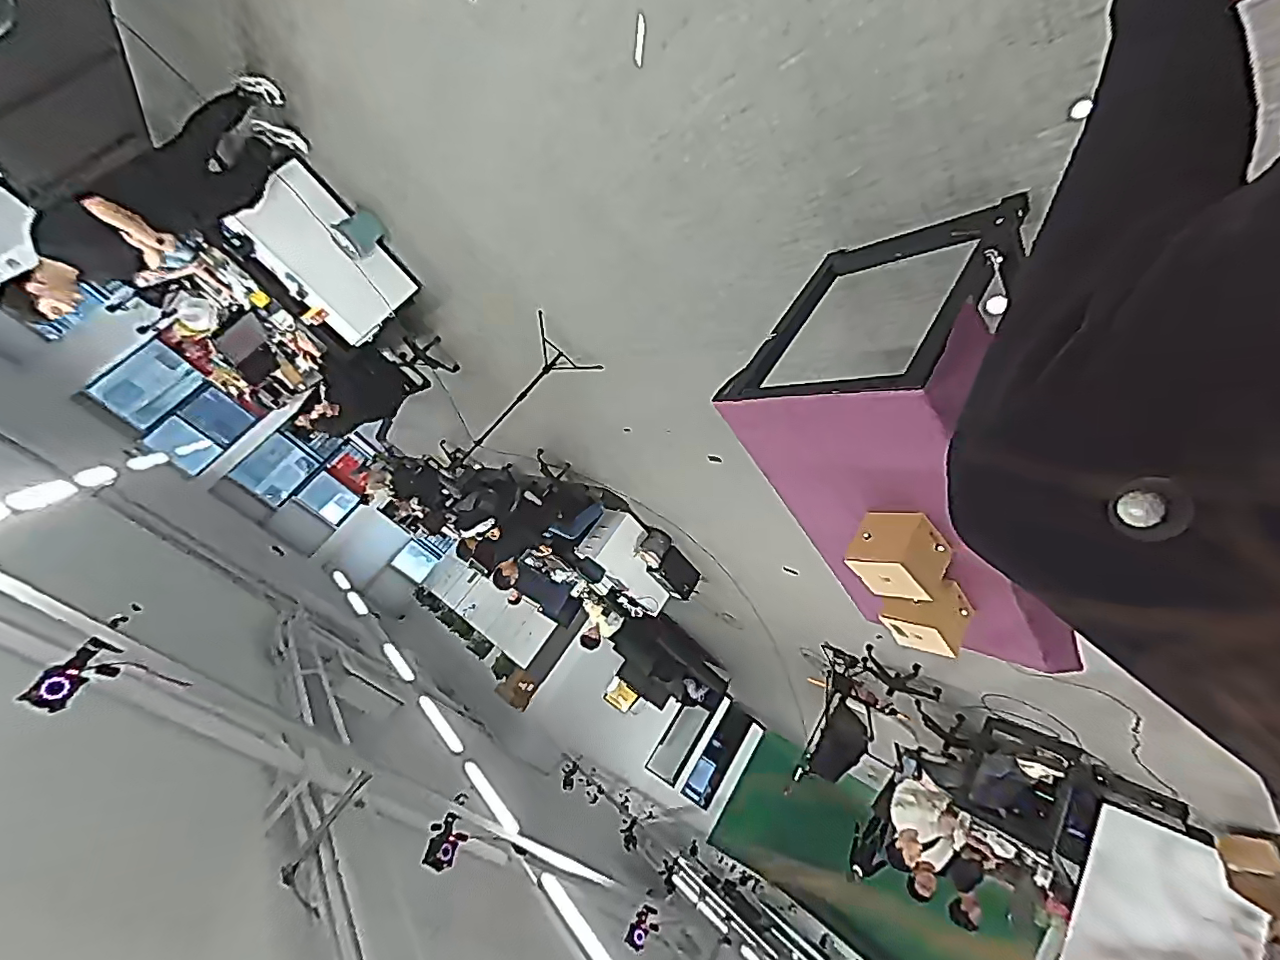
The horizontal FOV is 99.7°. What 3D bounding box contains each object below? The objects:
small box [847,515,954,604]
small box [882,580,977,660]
[{"bbox_3d":[0.707,0.207,1.466,0.168,0.176,0.179,43,159,-20],"label":"small box"},{"bbox_3d":[0.873,0.407,1.629,0.168,0.176,0.179,46,157,-25],"label":"small box"}]
